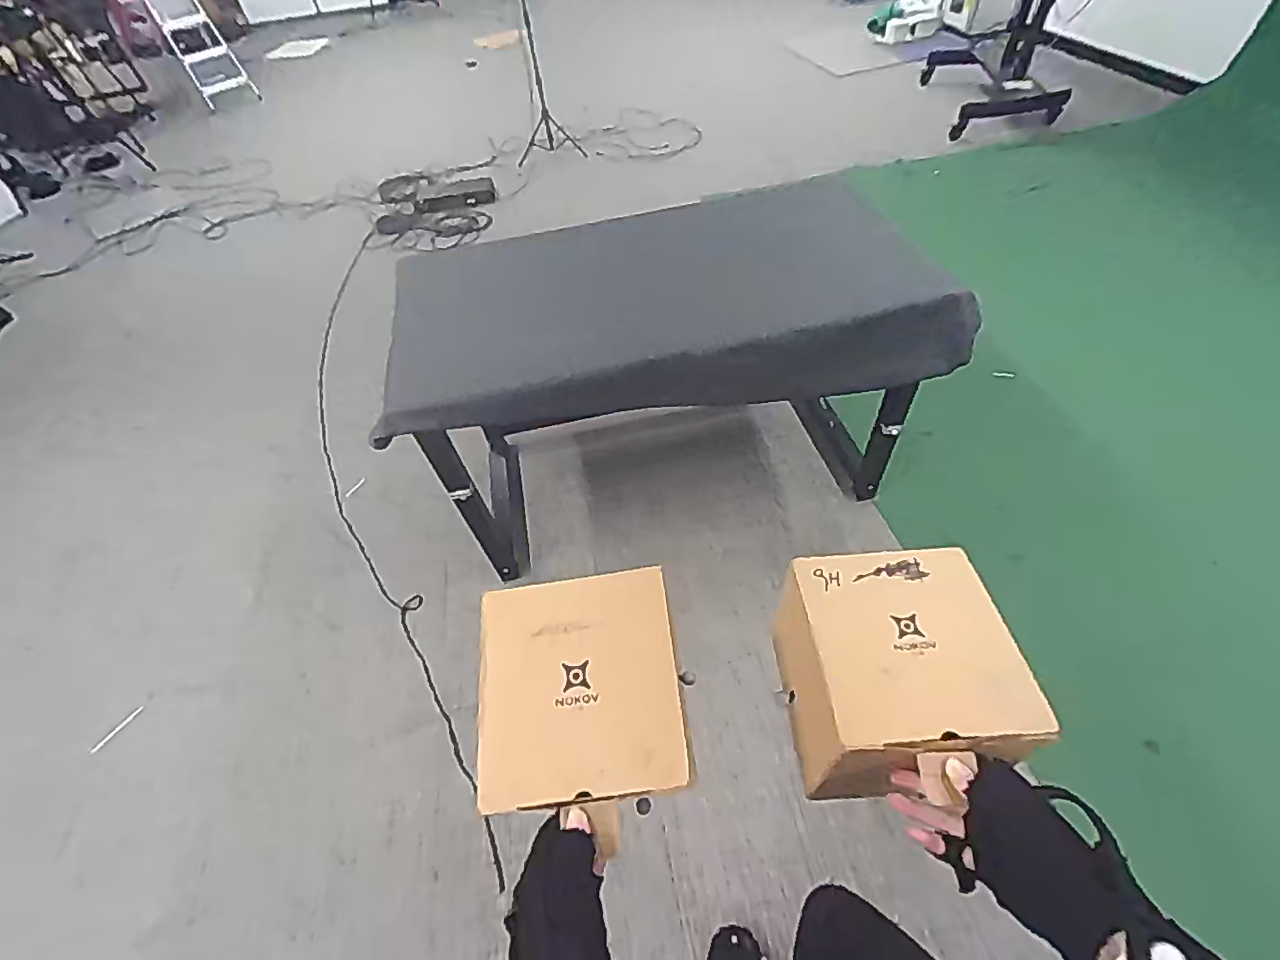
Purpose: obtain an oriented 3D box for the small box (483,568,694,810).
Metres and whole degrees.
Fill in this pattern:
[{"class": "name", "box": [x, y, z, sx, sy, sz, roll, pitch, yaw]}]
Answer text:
[{"class": "small box", "box": [-0.043, 0.205, 0.527, 0.168, 0.176, 0.179, -10, 61, 2]}]
